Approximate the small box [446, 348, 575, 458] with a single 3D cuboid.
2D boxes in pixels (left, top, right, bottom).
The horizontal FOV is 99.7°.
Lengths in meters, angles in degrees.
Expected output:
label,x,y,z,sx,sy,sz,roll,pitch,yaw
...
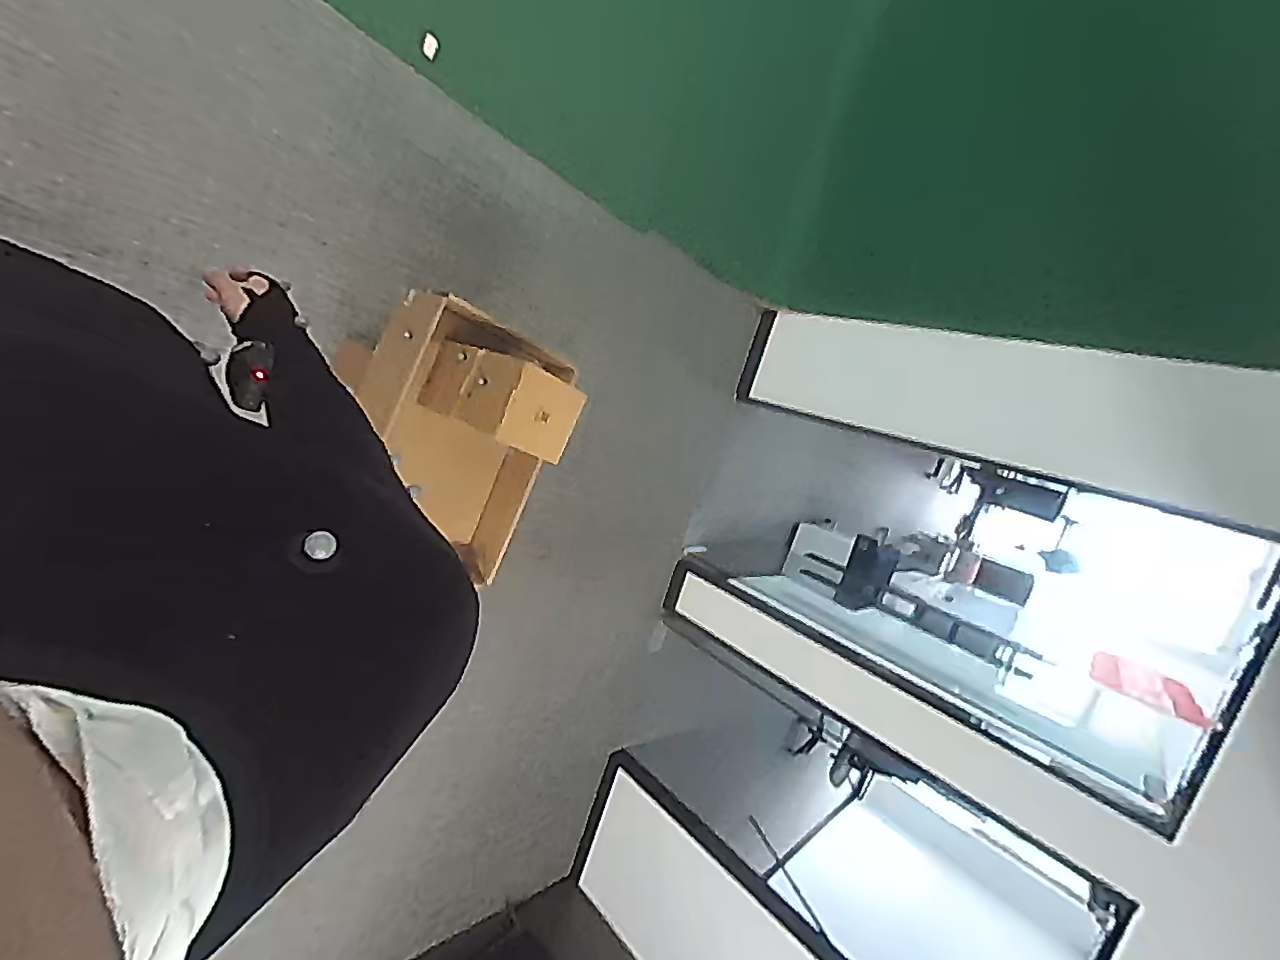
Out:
label,x,y,z,sx,sy,sz,roll,pitch,yaw
small box,-0.279,-0.169,1.169,0.179,0.176,0.168,24,91,-51
